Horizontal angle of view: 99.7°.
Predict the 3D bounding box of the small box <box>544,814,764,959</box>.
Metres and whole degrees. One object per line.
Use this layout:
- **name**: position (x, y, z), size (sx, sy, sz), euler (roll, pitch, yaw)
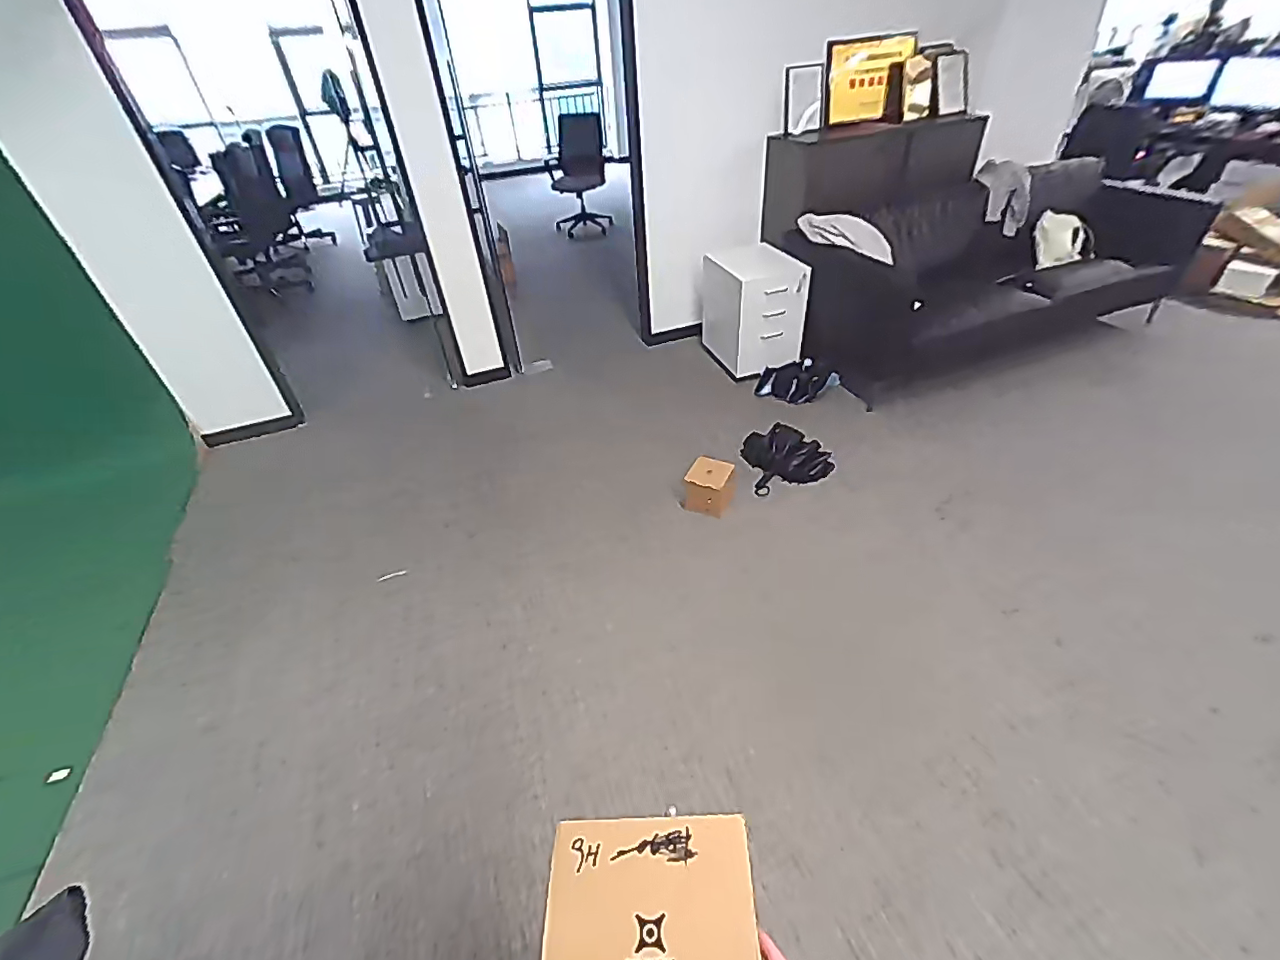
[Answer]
- **small box**: position (0.020, 0.405, 0.454), size (0.168, 0.176, 0.179), euler (-5, 42, 5)
